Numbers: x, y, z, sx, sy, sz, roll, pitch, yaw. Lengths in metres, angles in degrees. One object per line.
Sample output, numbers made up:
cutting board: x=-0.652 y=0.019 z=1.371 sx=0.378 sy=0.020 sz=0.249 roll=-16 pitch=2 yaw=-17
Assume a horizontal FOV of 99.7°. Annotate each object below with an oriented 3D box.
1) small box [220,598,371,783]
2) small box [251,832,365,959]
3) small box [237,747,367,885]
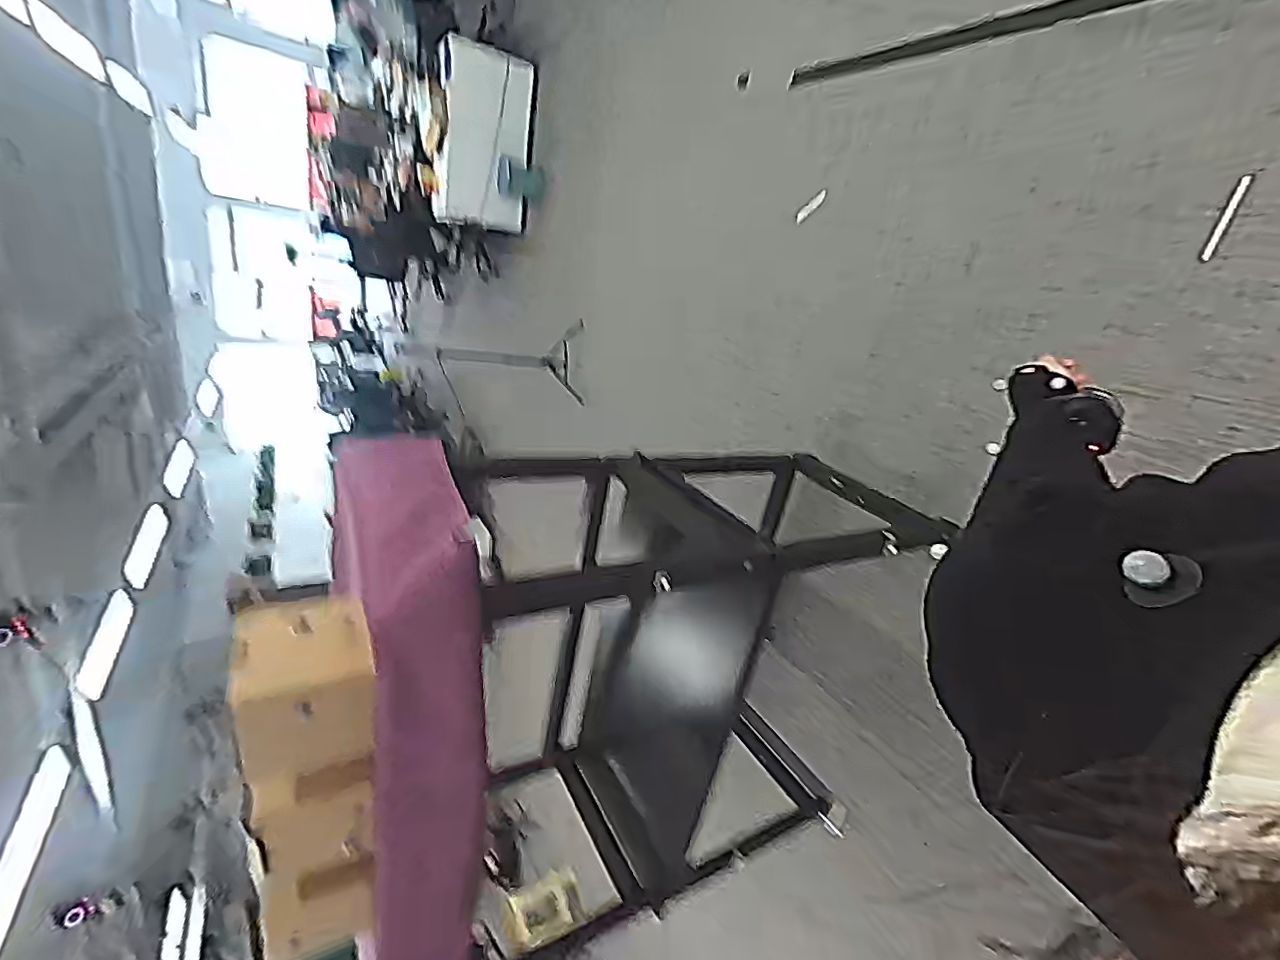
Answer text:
small box: x=-0.501 y=0.297 z=0.799 sx=0.168 sy=0.176 sz=0.179 roll=46 pitch=130 yaw=47
small box: x=-0.617 y=0.744 z=1.015 sx=0.168 sy=0.176 sz=0.179 roll=44 pitch=128 yaw=47
small box: x=-0.560 y=0.515 z=0.909 sx=0.179 sy=0.176 sz=0.168 roll=41 pitch=125 yaw=50
